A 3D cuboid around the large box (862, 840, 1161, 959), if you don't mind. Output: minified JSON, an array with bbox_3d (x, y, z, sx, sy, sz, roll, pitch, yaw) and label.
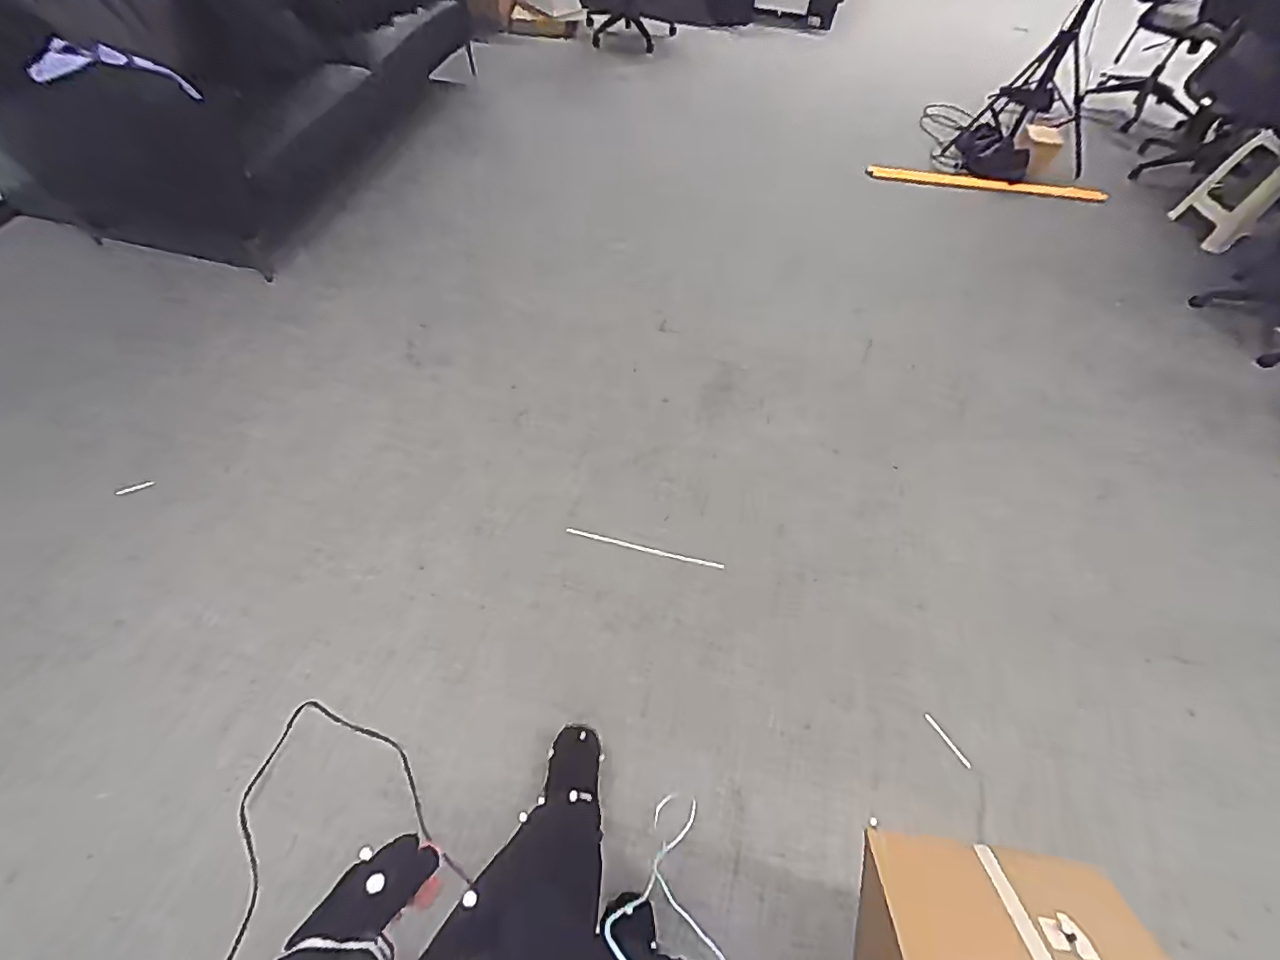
[{"bbox_3d":[0.459,0.724,0.619,0.320,0.408,0.320,4,97,10],"label":"large box"}]
